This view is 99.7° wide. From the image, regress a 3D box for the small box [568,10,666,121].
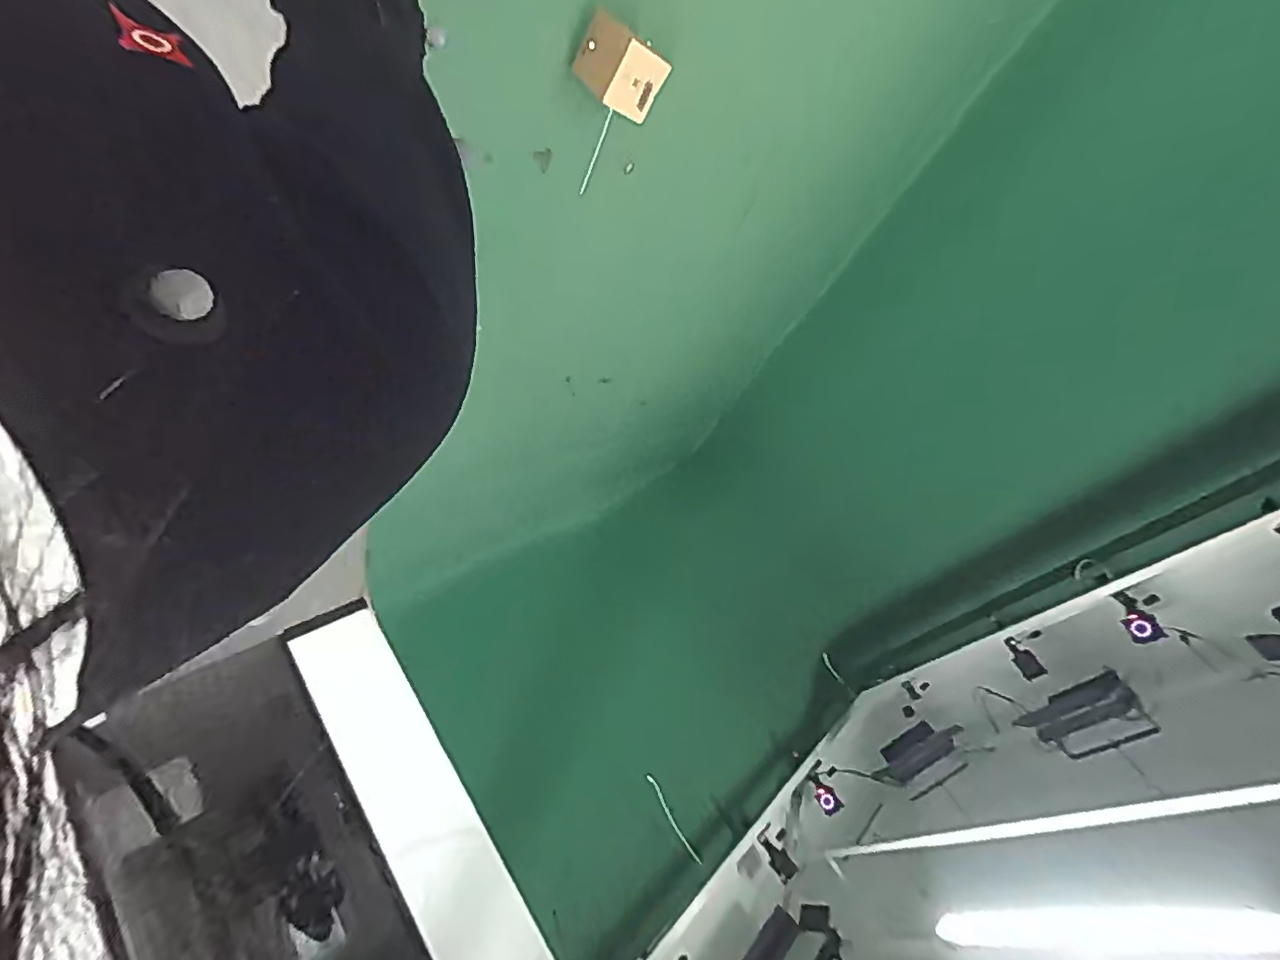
[{"bbox_3d":[-0.066,-1.163,1.520,0.179,0.176,0.168,-14,151,-50],"label":"small box"}]
